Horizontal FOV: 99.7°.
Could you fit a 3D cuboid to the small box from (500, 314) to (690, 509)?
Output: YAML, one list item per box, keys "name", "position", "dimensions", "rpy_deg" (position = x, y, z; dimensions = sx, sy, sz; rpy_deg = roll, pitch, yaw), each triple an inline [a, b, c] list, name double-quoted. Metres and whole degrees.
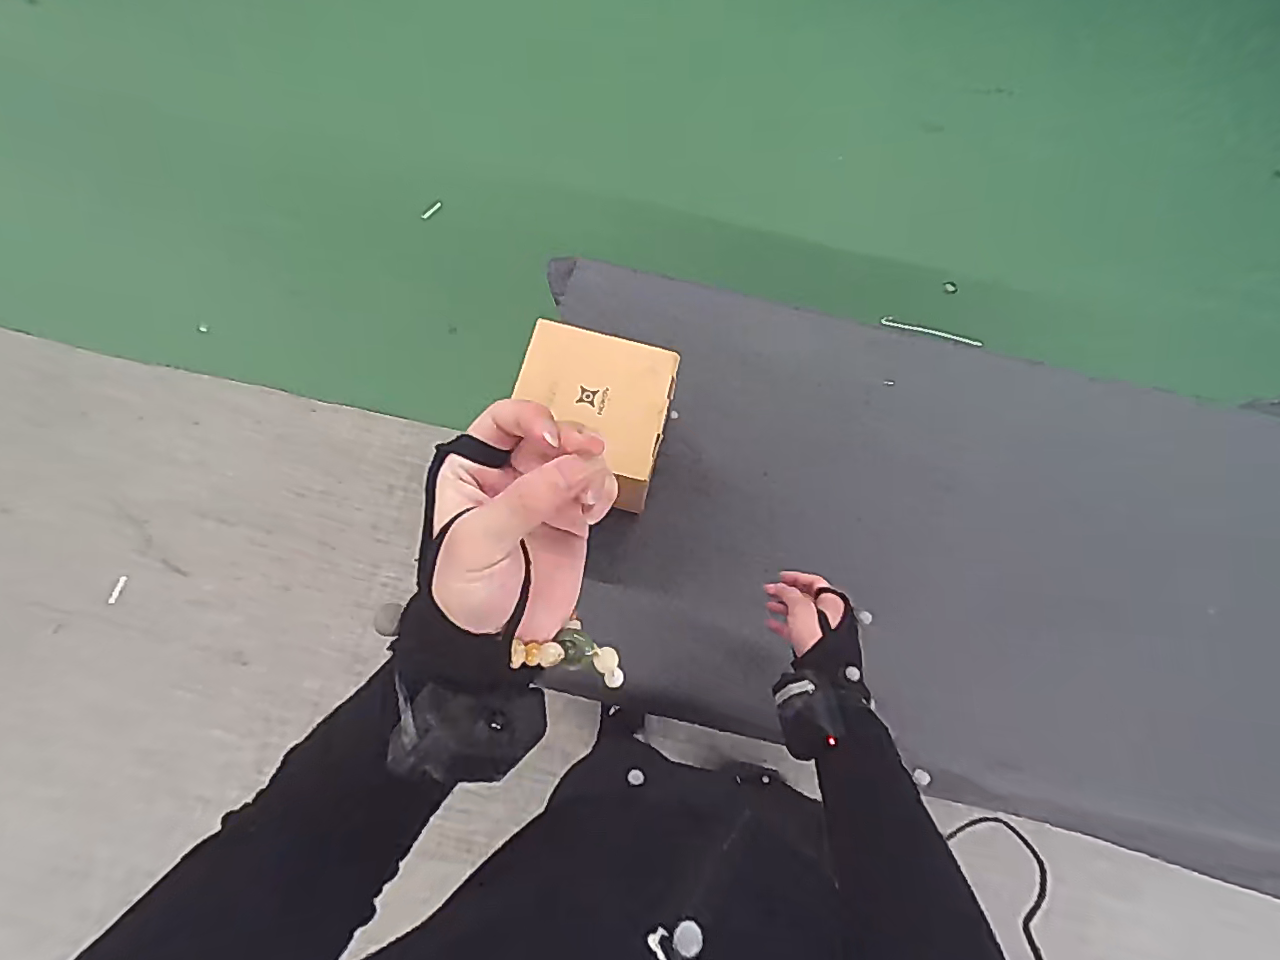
- name: "small box"
  position: [-0.052, -0.073, 0.683]
  dimensions: [0.179, 0.176, 0.168]
  rpy_deg: [17, 73, 2]
